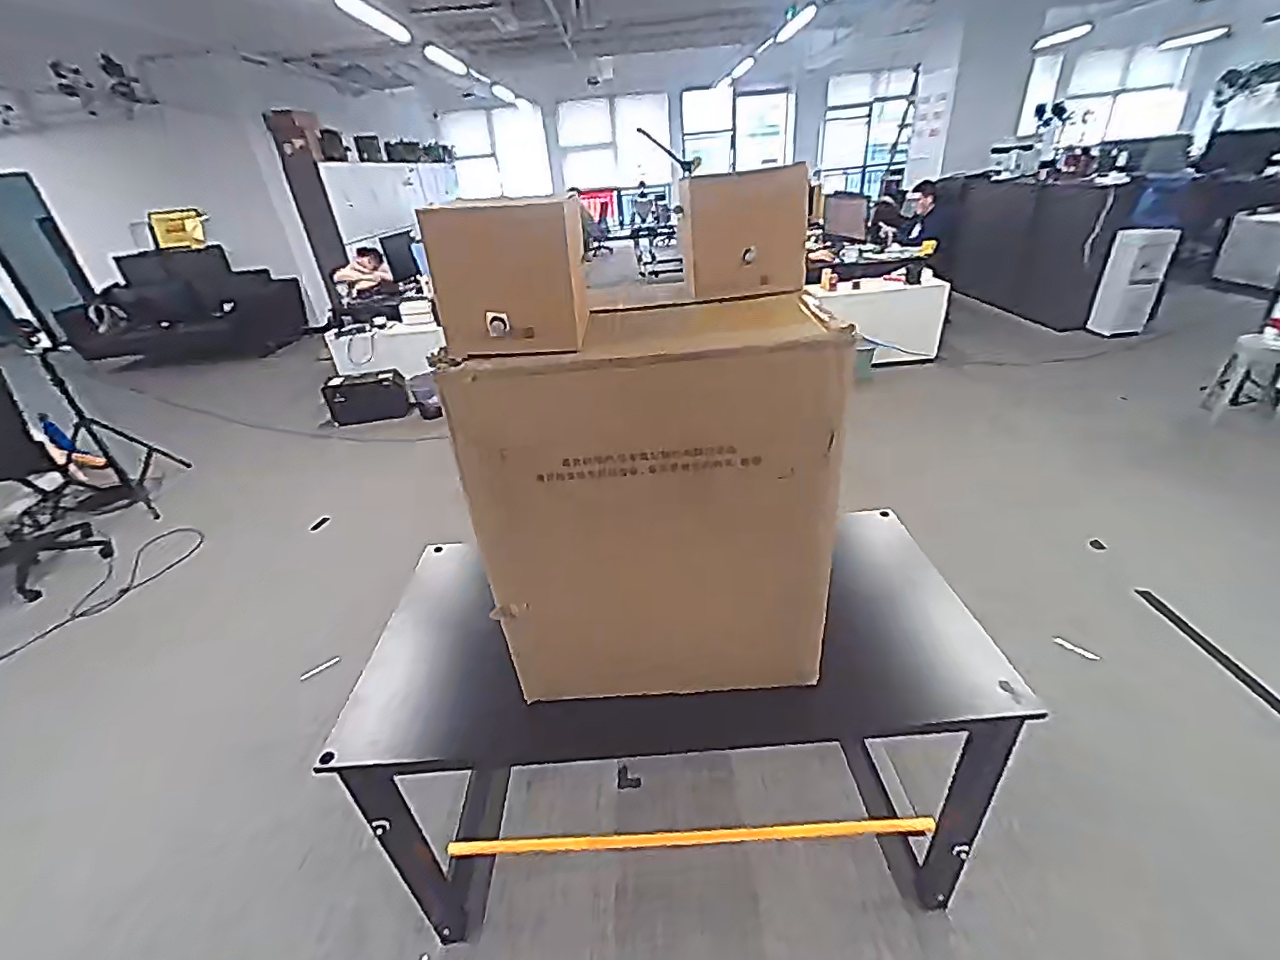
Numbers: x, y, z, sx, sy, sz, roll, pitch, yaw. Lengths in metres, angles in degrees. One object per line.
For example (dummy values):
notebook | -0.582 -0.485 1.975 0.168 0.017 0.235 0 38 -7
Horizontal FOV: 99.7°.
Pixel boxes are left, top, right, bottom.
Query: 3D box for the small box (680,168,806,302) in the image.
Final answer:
small box | 0.153 -0.382 0.852 0.168 0.176 0.179 -6 27 2

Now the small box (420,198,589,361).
small box | -0.158 -0.262 0.699 0.168 0.176 0.179 -4 32 1
